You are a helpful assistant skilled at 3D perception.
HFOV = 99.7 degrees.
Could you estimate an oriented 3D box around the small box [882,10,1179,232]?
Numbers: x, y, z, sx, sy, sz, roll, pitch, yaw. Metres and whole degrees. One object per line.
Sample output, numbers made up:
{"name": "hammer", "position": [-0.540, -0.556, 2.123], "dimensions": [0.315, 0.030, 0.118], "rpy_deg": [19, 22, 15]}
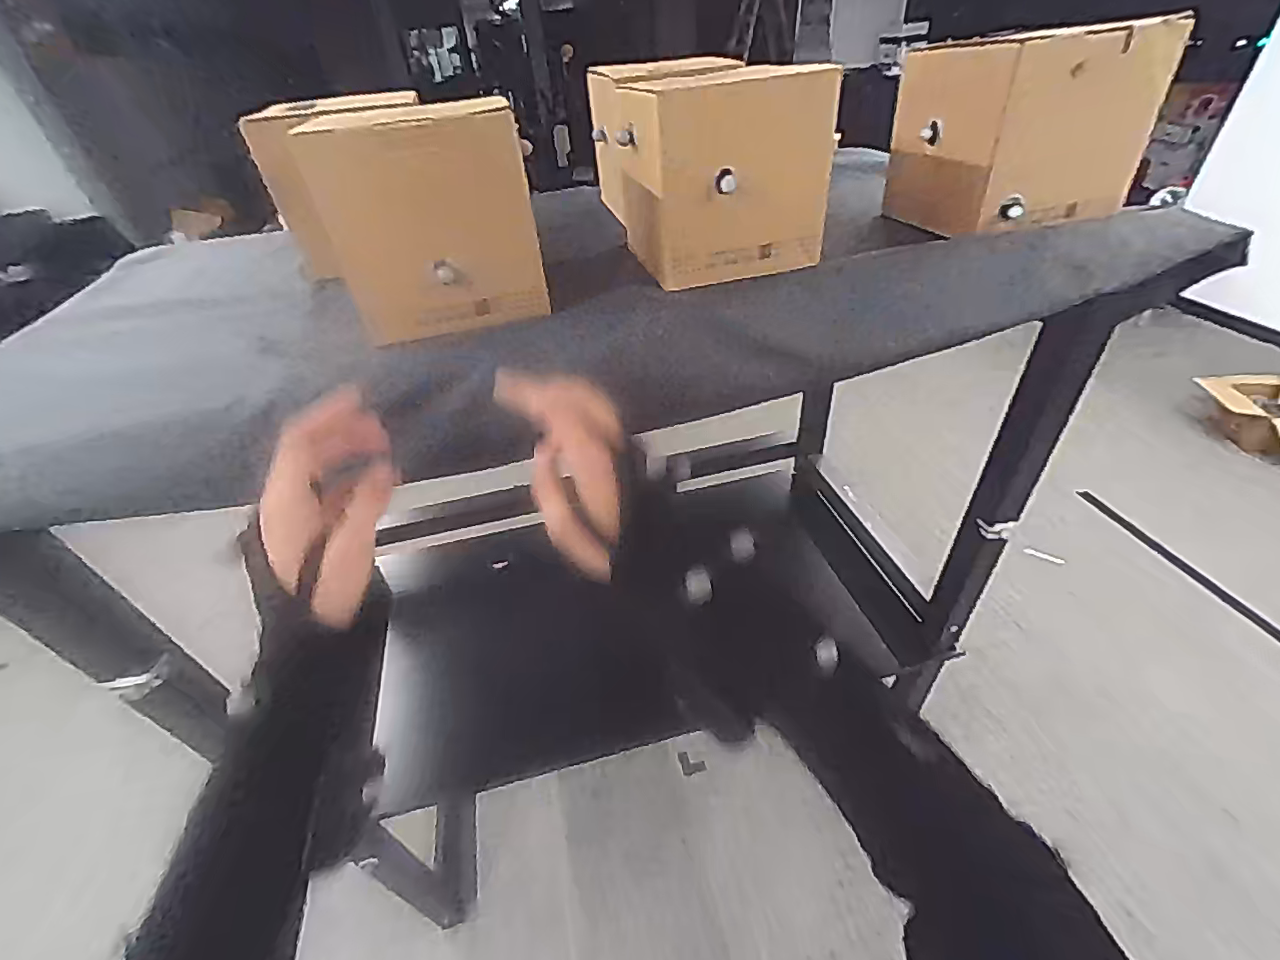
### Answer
{"name": "small box", "position": [0.388, -0.375, 0.580], "dimensions": [0.168, 0.176, 0.179], "rpy_deg": [-11, 36, -5]}

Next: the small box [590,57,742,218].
{"name": "small box", "position": [0.032, -0.477, 0.757], "dimensions": [0.168, 0.176, 0.179], "rpy_deg": [-13, 39, -8]}

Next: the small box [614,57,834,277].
{"name": "small box", "position": [0.077, -0.321, 0.561], "dimensions": [0.168, 0.176, 0.179], "rpy_deg": [-12, 38, -8]}
